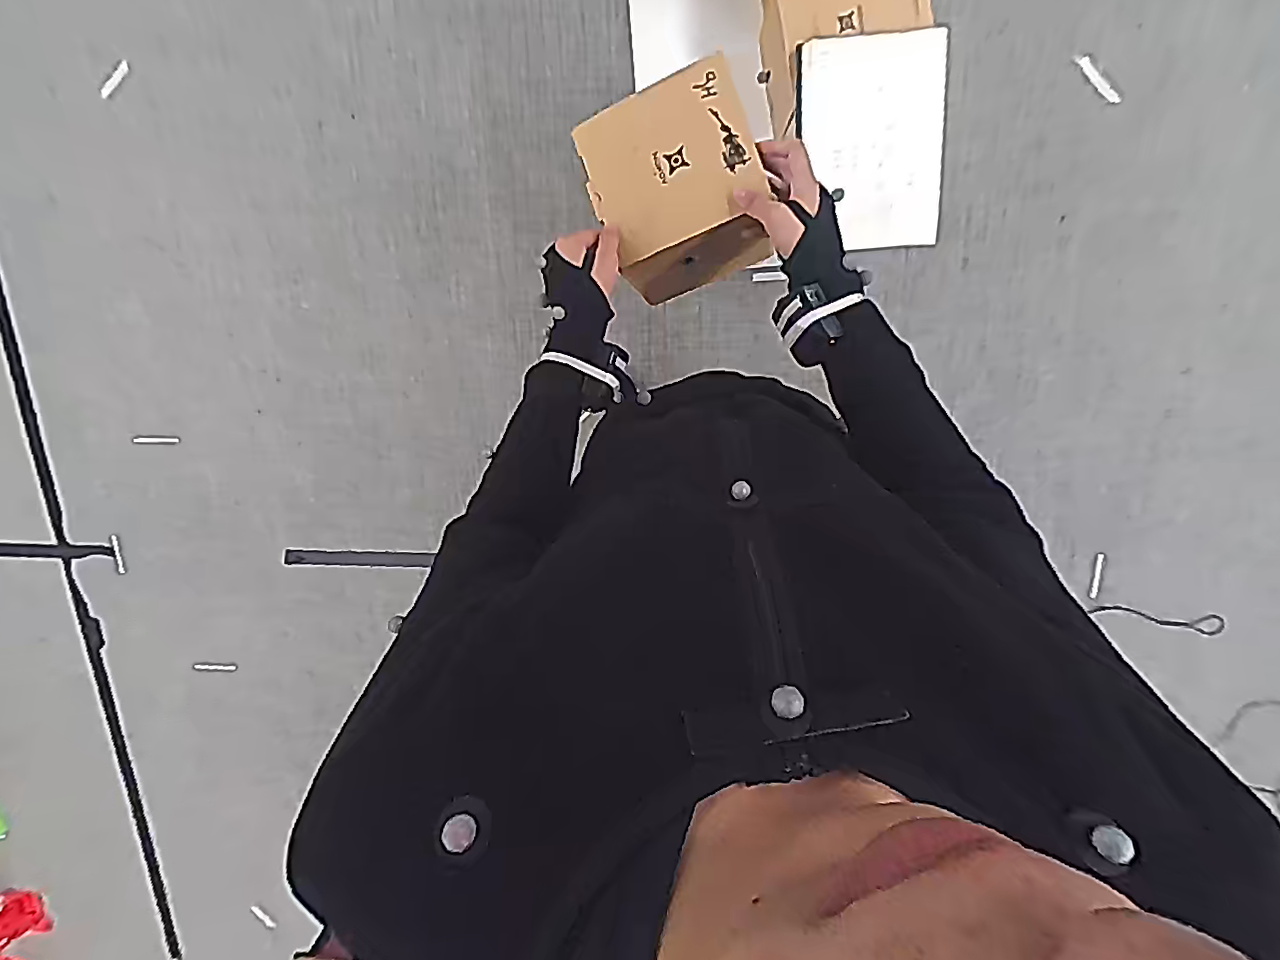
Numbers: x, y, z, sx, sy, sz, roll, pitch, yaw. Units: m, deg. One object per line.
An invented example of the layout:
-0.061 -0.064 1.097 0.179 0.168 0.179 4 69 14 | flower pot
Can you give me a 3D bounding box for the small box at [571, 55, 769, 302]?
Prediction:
0.047 -0.334 0.646 0.179 0.176 0.168 -19 90 15 | small box
